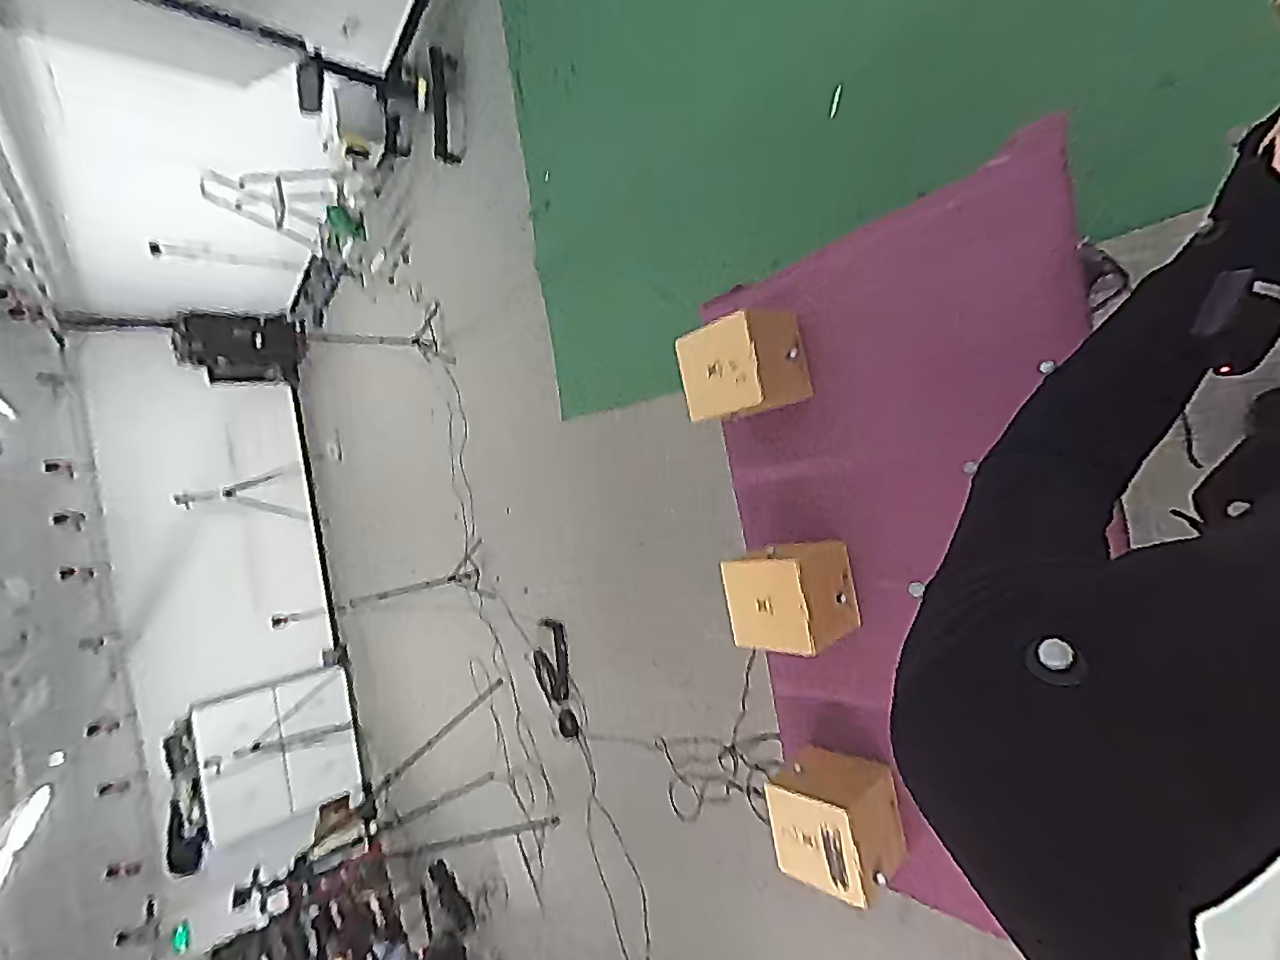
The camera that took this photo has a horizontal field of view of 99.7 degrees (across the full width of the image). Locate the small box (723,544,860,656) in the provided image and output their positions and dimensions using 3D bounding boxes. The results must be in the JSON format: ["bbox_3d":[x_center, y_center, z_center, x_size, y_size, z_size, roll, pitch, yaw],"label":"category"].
[{"bbox_3d":[0.288,0.220,1.029,0.179,0.176,0.168,-13,87,48],"label":"small box"}]

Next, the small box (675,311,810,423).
[{"bbox_3d":[0.197,-0.212,1.041,0.179,0.176,0.168,-12,91,49],"label":"small box"}]
